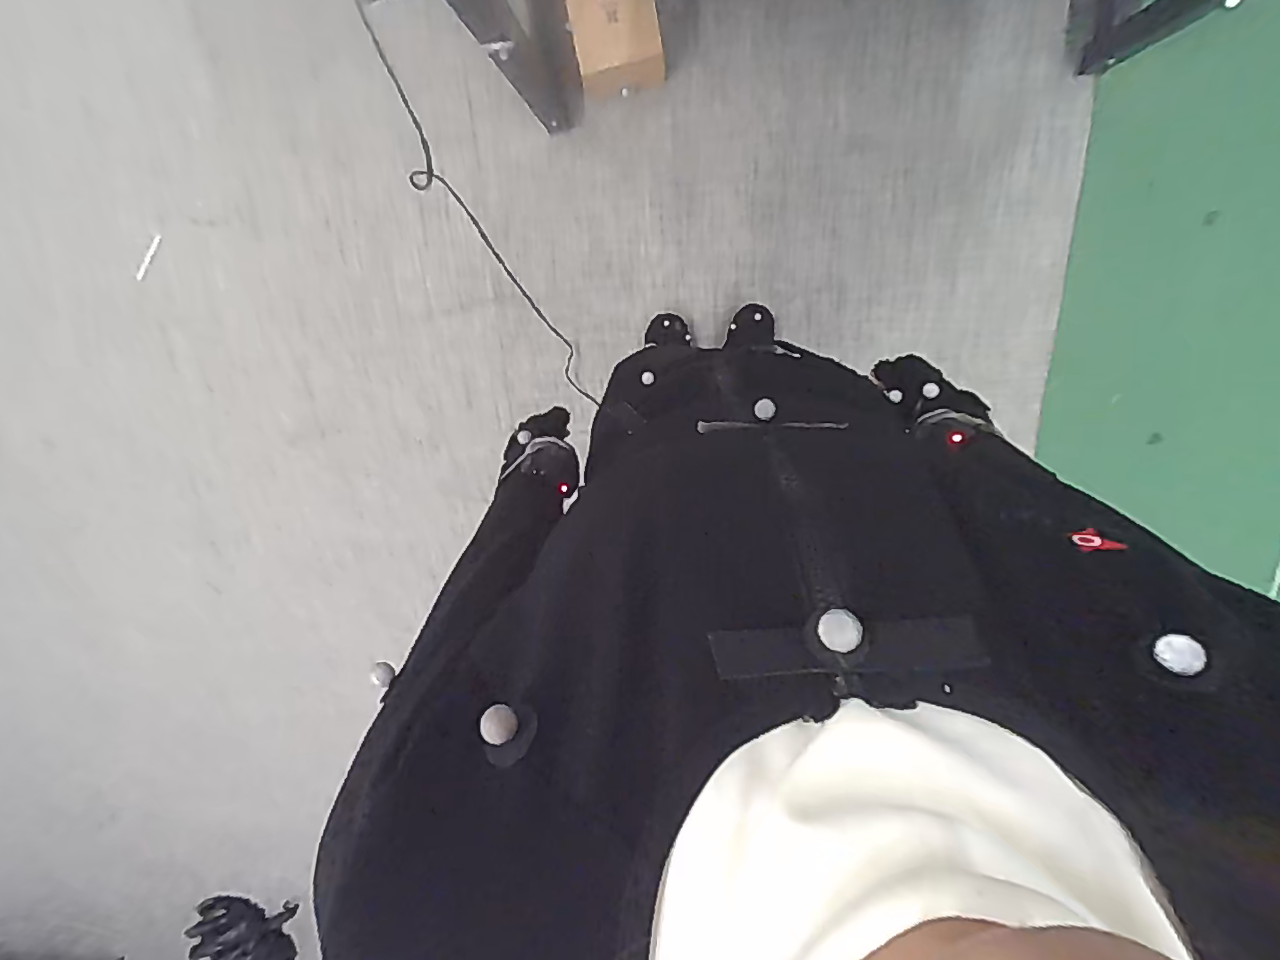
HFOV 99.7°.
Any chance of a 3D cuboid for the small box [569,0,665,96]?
[{"bbox_3d":[-0.046,-0.917,1.087,0.168,0.176,0.179,-10,108,7],"label":"small box"}]
